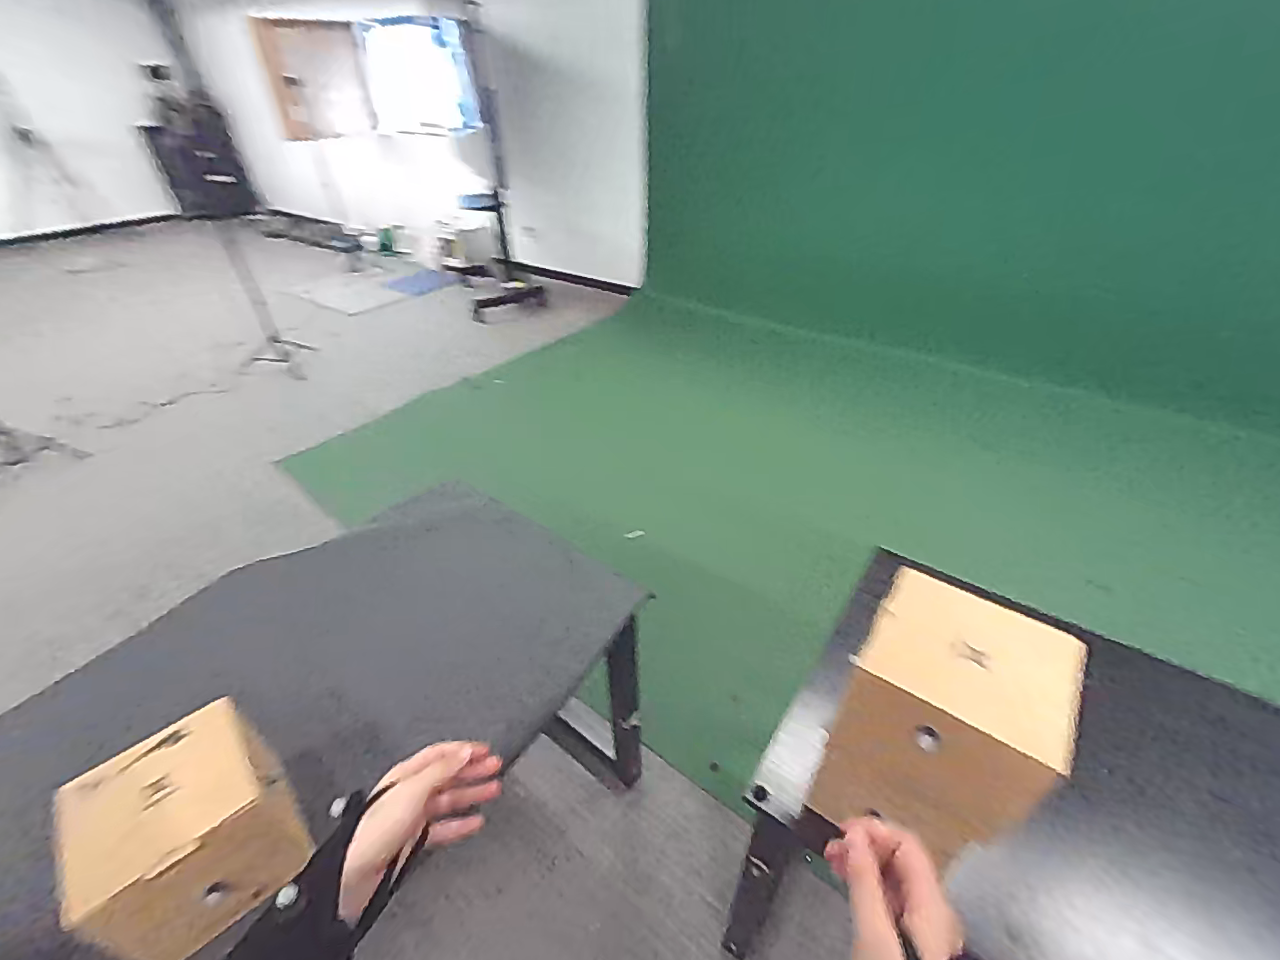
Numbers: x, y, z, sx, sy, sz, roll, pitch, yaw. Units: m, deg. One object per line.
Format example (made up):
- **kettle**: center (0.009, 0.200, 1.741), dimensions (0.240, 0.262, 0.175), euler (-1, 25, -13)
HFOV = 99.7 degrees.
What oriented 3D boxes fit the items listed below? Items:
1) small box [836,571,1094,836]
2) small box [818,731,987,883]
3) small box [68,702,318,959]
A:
- **small box**: center (0.334, 0.237, 0.576), dimensions (0.179, 0.176, 0.168), euler (23, 44, 30)
- **small box**: center (0.342, 0.357, 0.687), dimensions (0.168, 0.176, 0.179), euler (24, 44, 29)
- **small box**: center (-0.518, 0.415, 0.642), dimensions (0.168, 0.176, 0.179), euler (-30, 45, -32)
